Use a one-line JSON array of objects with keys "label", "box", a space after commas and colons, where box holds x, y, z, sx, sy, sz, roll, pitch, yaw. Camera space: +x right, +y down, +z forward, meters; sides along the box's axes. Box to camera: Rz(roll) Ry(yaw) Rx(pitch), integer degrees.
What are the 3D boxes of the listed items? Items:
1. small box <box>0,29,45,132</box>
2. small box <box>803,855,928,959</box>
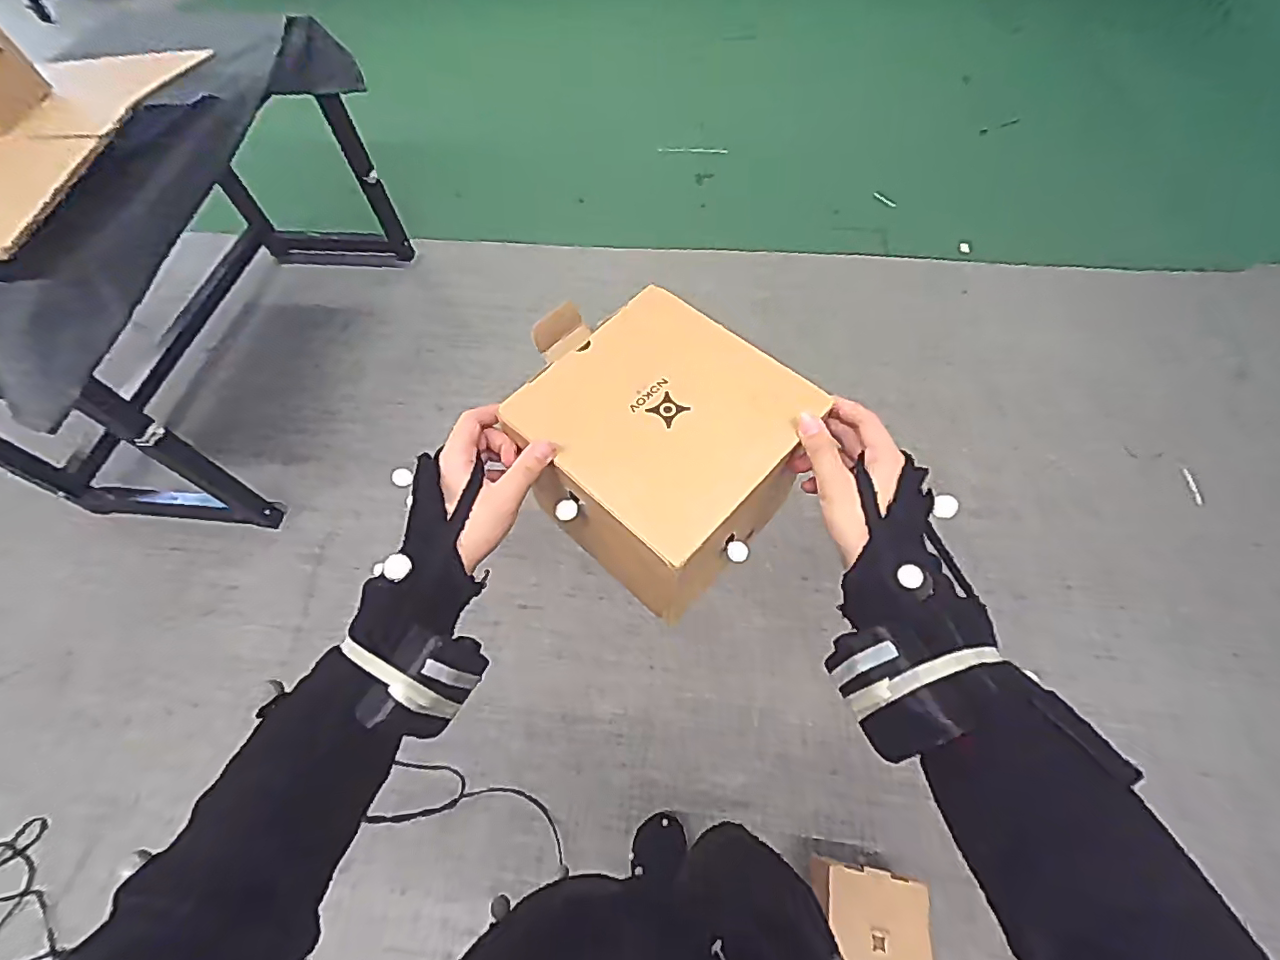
[{"label": "small box", "box": [-1.237, -0.738, 0.955, 0.168, 0.176, 0.179, -5, 59, 4]}, {"label": "small box", "box": [0.390, 0.786, 0.958, 0.168, 0.176, 0.179, 8, 60, 7]}]
